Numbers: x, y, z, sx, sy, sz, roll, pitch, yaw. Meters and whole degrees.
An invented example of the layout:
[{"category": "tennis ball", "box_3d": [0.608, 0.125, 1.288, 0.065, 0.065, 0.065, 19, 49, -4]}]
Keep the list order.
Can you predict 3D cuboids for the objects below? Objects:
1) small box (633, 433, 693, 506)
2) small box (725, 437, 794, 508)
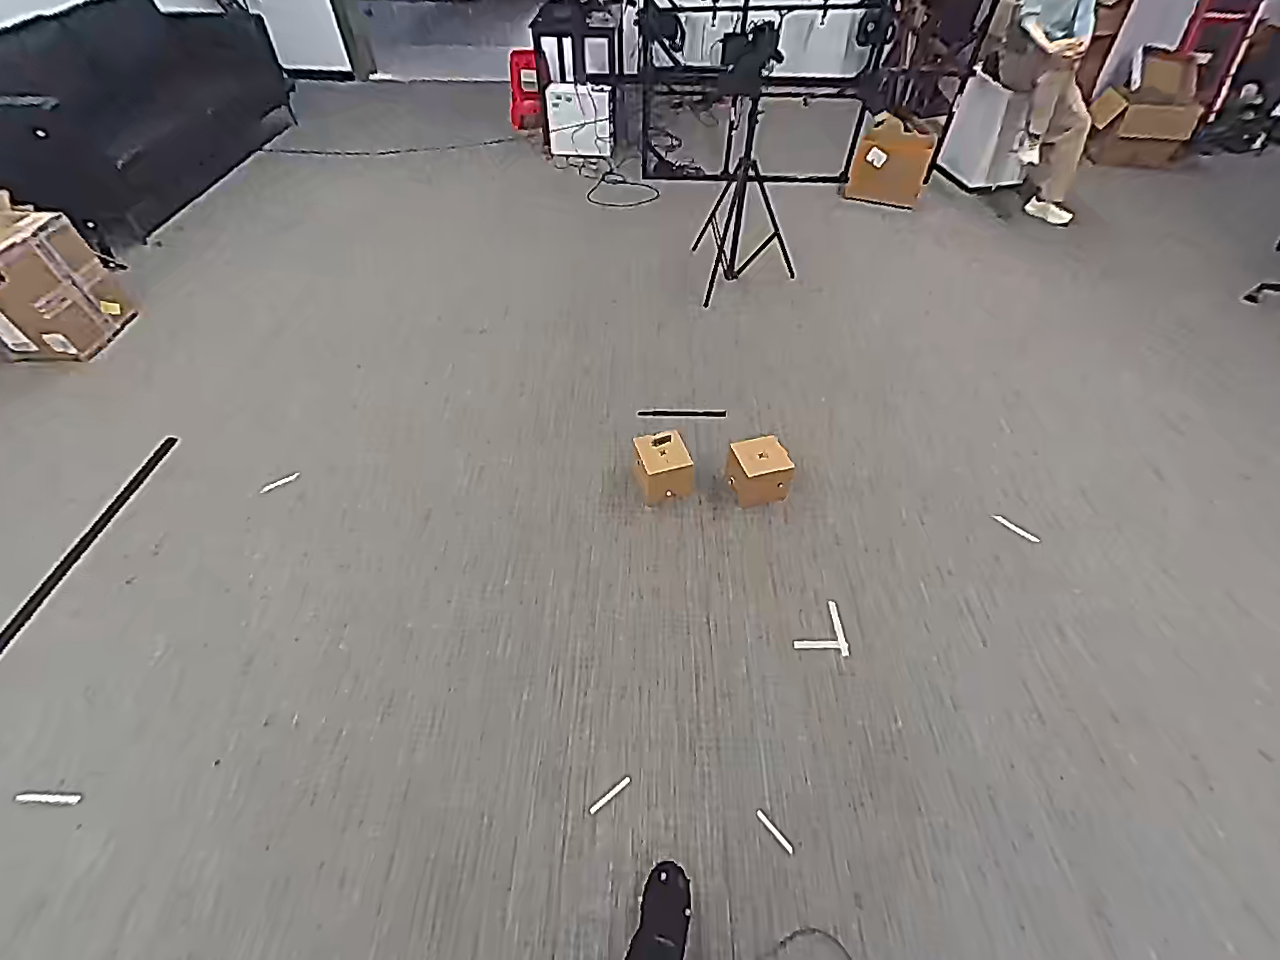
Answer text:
[{"category": "small box", "box_3d": [0.076, -0.037, 1.922, 0.168, 0.176, 0.179, -14, 51, -12]}, {"category": "small box", "box_3d": [0.416, -0.025, 1.915, 0.179, 0.176, 0.168, -14, 50, -11]}]
